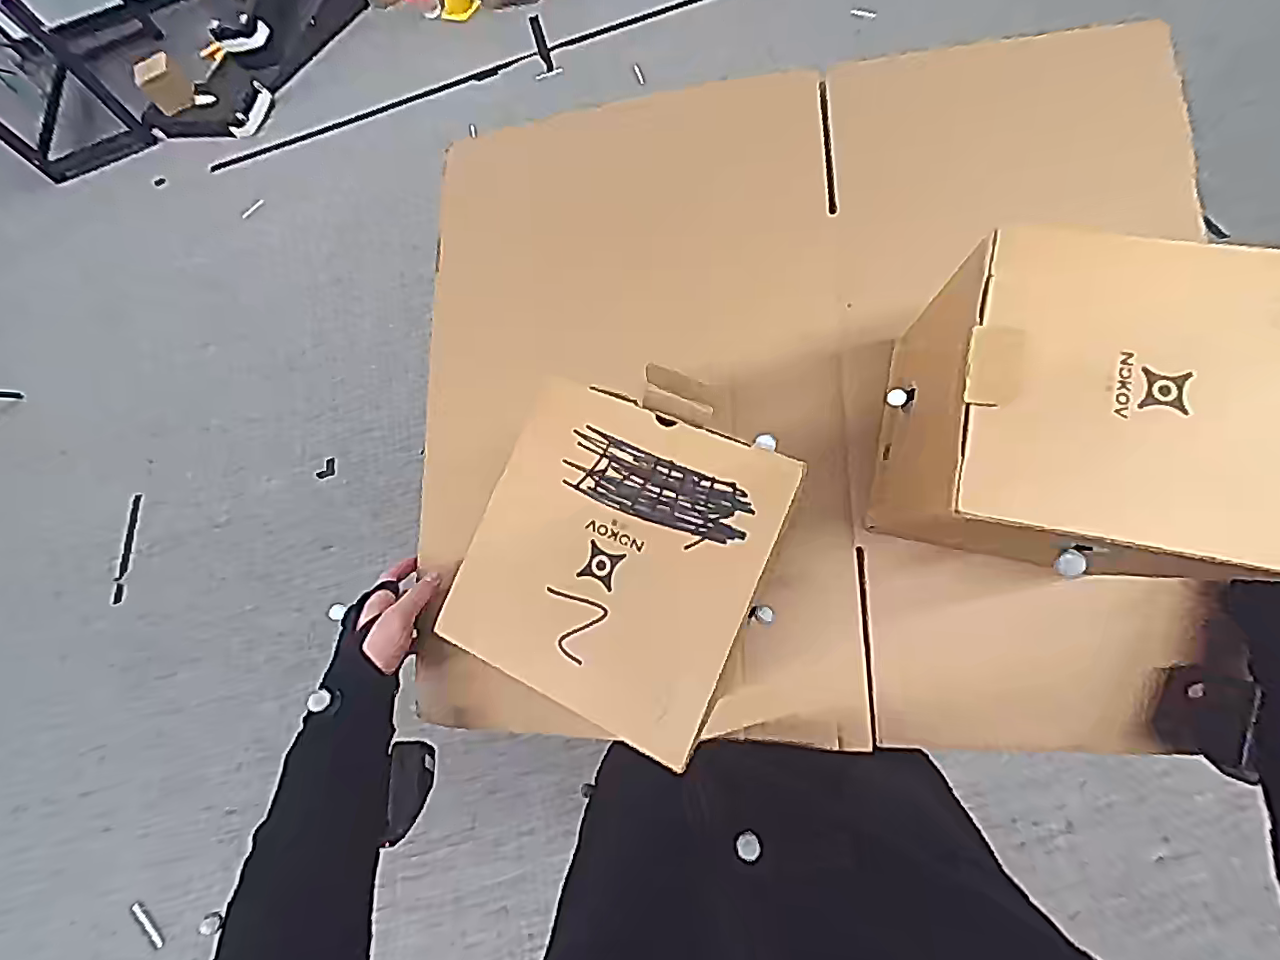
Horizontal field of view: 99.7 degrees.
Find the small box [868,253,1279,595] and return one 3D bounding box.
[{"bbox_3d":[0.277,-0.026,0.369,0.179,0.176,0.168,10,83,11],"label":"small box"}]
